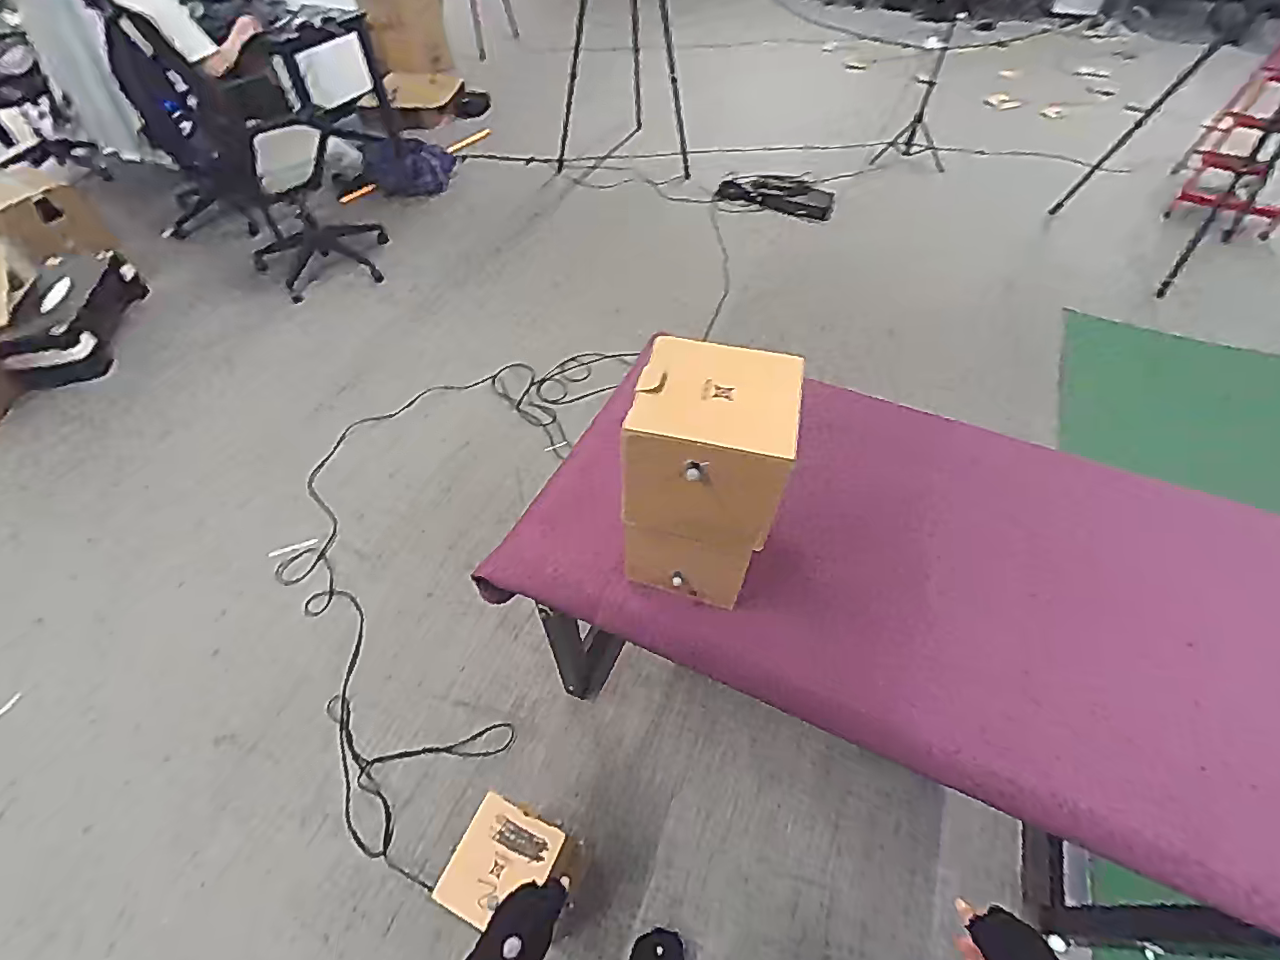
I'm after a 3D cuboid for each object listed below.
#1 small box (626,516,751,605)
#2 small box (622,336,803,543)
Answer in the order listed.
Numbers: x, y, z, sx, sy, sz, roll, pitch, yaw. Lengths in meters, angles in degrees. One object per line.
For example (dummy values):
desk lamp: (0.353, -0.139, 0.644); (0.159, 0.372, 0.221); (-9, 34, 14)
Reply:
small box: (0.080, 0.051, 0.787); (0.168, 0.176, 0.179); (16, 52, 11)
small box: (0.083, -0.044, 0.653); (0.179, 0.176, 0.168); (12, 52, 8)
